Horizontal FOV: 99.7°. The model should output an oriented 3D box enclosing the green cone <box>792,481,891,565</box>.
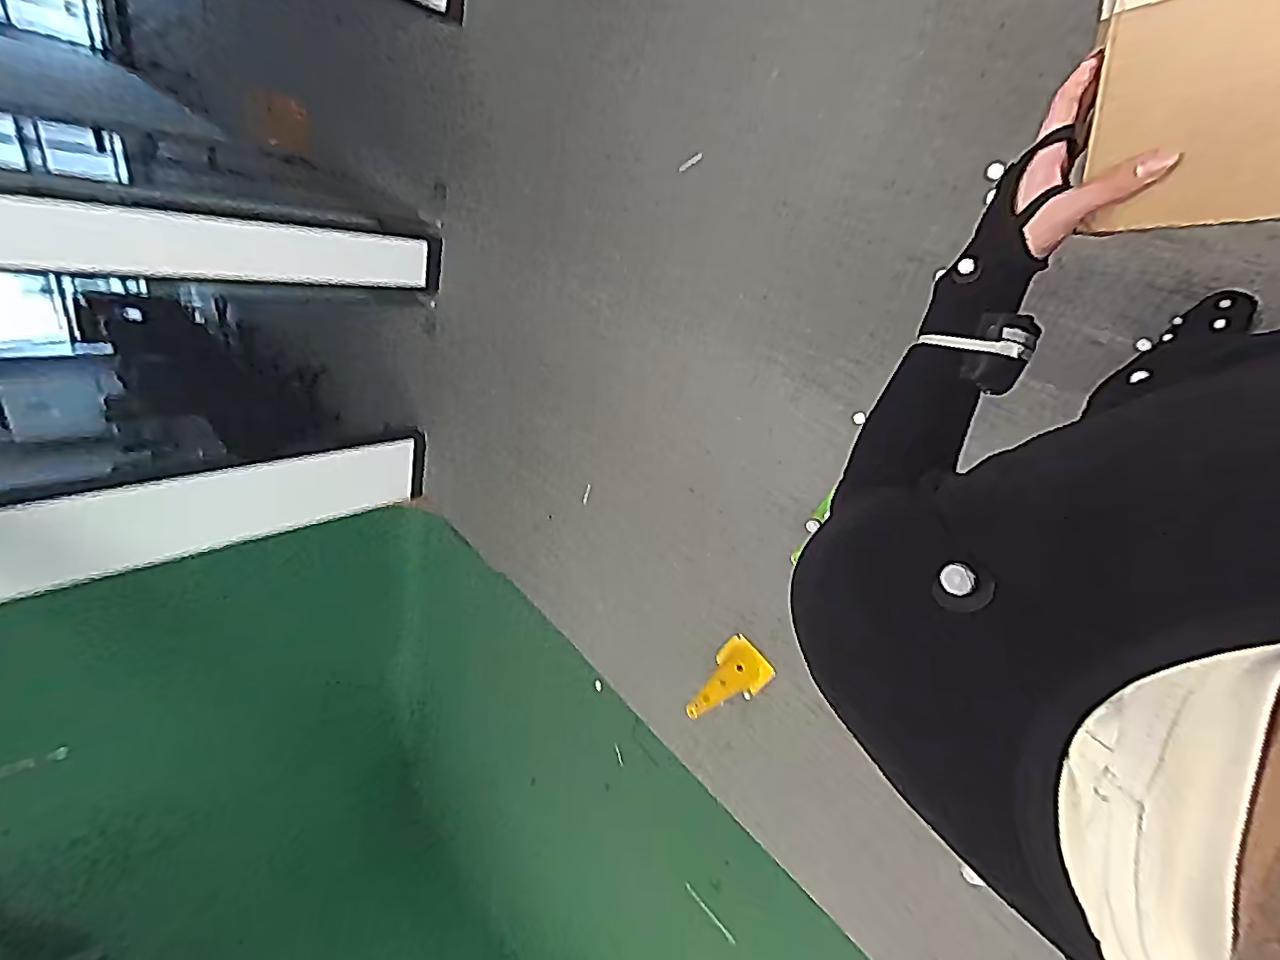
[{"bbox_3d":[0.552,0.166,1.602,0.200,0.368,0.202,42,129,26],"label":"green cone"}]
